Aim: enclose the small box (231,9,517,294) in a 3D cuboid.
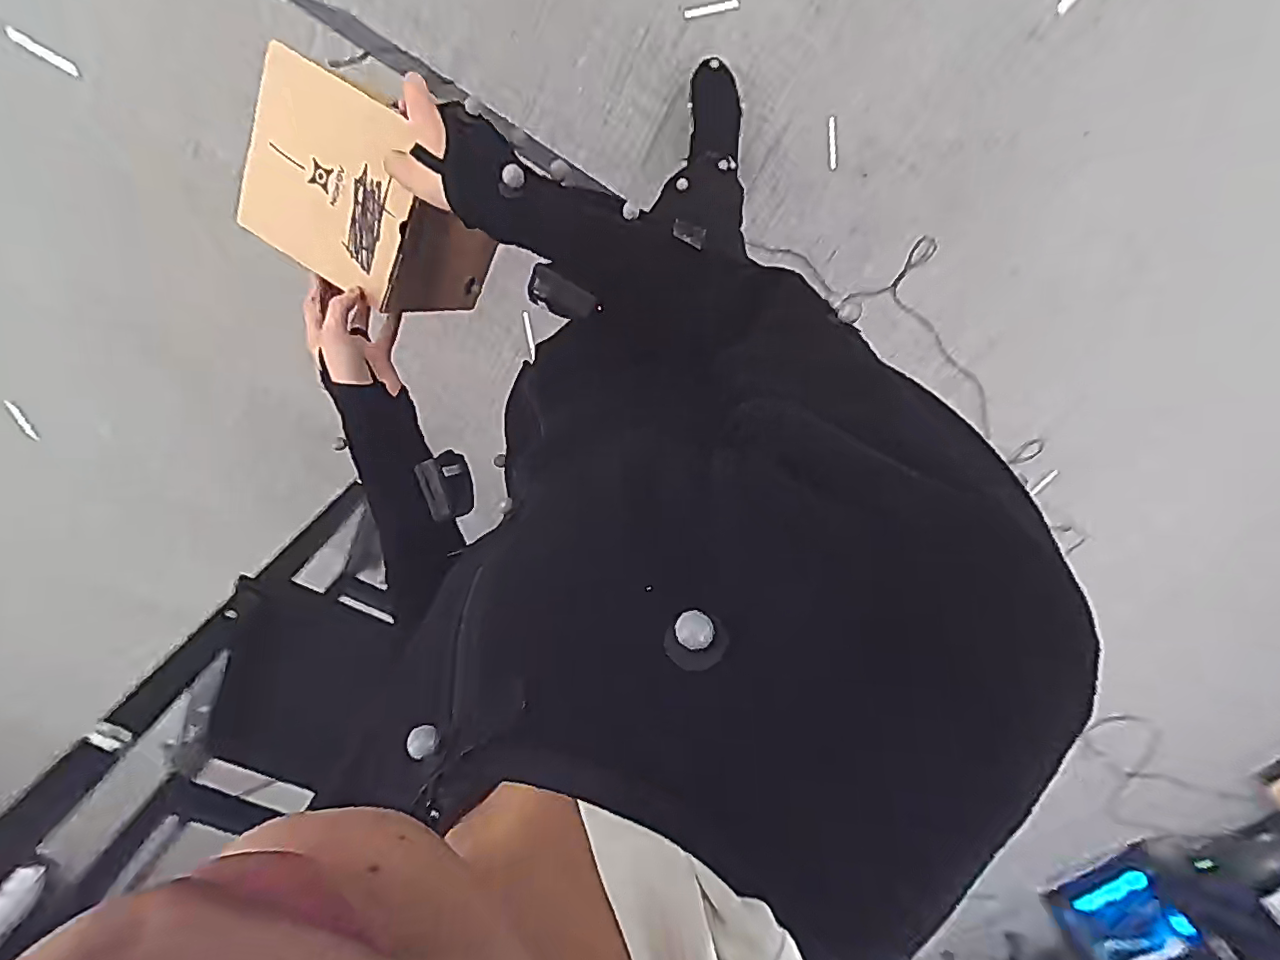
[{"bbox_3d":[-0.255,-0.307,0.547,0.179,0.176,0.168,33,113,4],"label":"small box"}]
